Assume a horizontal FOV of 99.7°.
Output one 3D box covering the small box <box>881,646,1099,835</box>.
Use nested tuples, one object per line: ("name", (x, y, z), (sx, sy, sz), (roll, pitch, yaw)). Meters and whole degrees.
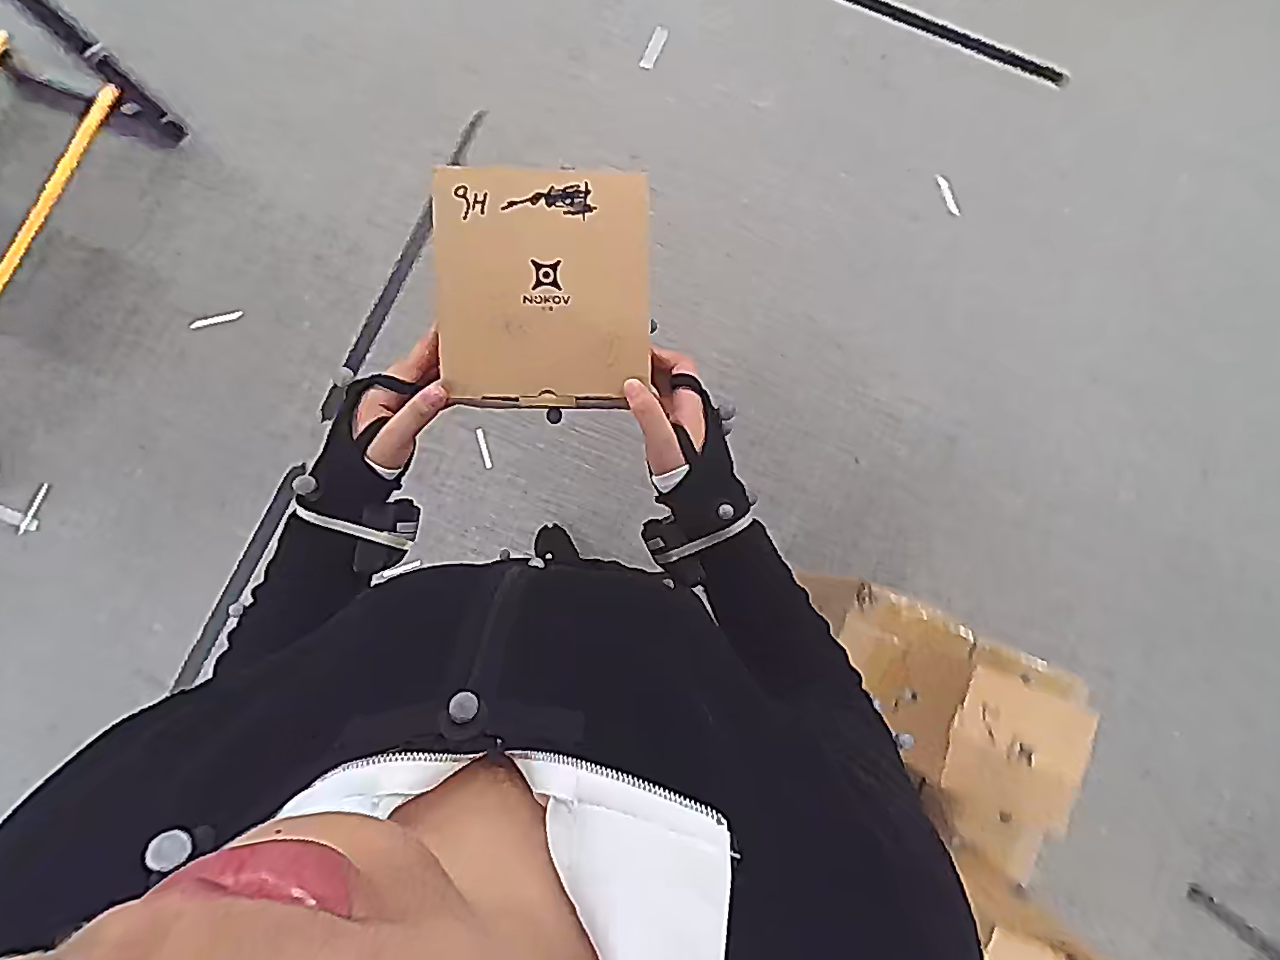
("small box", (0.488, 0.357, 0.780), (0.179, 0.176, 0.168), (23, 84, 3))

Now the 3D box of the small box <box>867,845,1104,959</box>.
("small box", (0.377, 0.550, 0.590), (0.168, 0.176, 0.179), (24, 81, 3))

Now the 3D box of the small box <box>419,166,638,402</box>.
("small box", (-0.089, -0.163, 0.502), (0.168, 0.176, 0.179), (-3, 96, -5))
